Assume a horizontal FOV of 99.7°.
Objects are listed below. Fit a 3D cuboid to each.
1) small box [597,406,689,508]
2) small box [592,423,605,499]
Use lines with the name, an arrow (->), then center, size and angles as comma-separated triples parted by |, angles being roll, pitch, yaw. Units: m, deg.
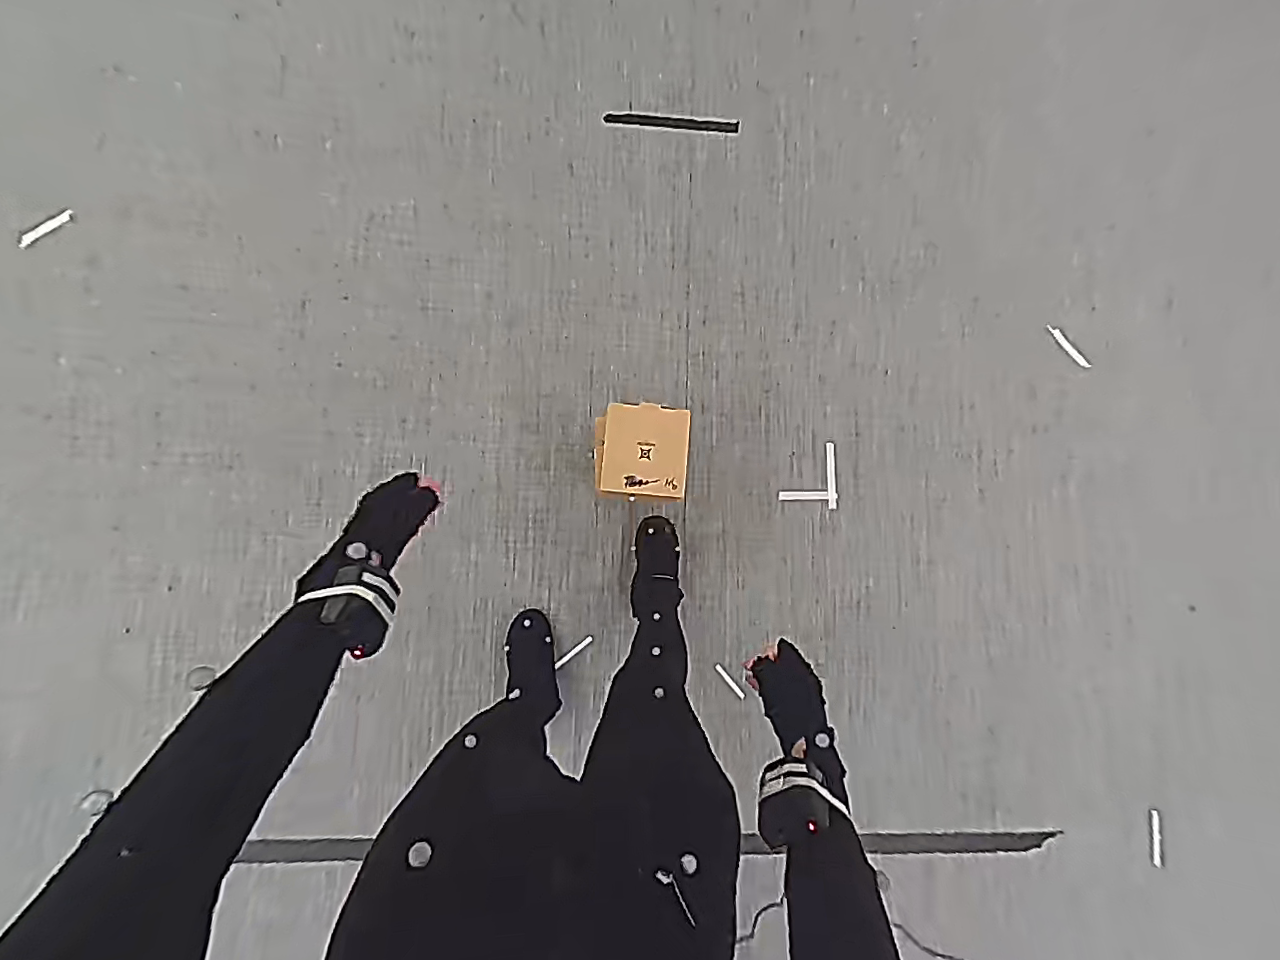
small box -> 0.000, -0.041, 1.127 | 0.168, 0.176, 0.179 | 6, 83, -5
small box -> -0.024, -0.041, 1.289 | 0.179, 0.176, 0.168 | -1, 84, -5
